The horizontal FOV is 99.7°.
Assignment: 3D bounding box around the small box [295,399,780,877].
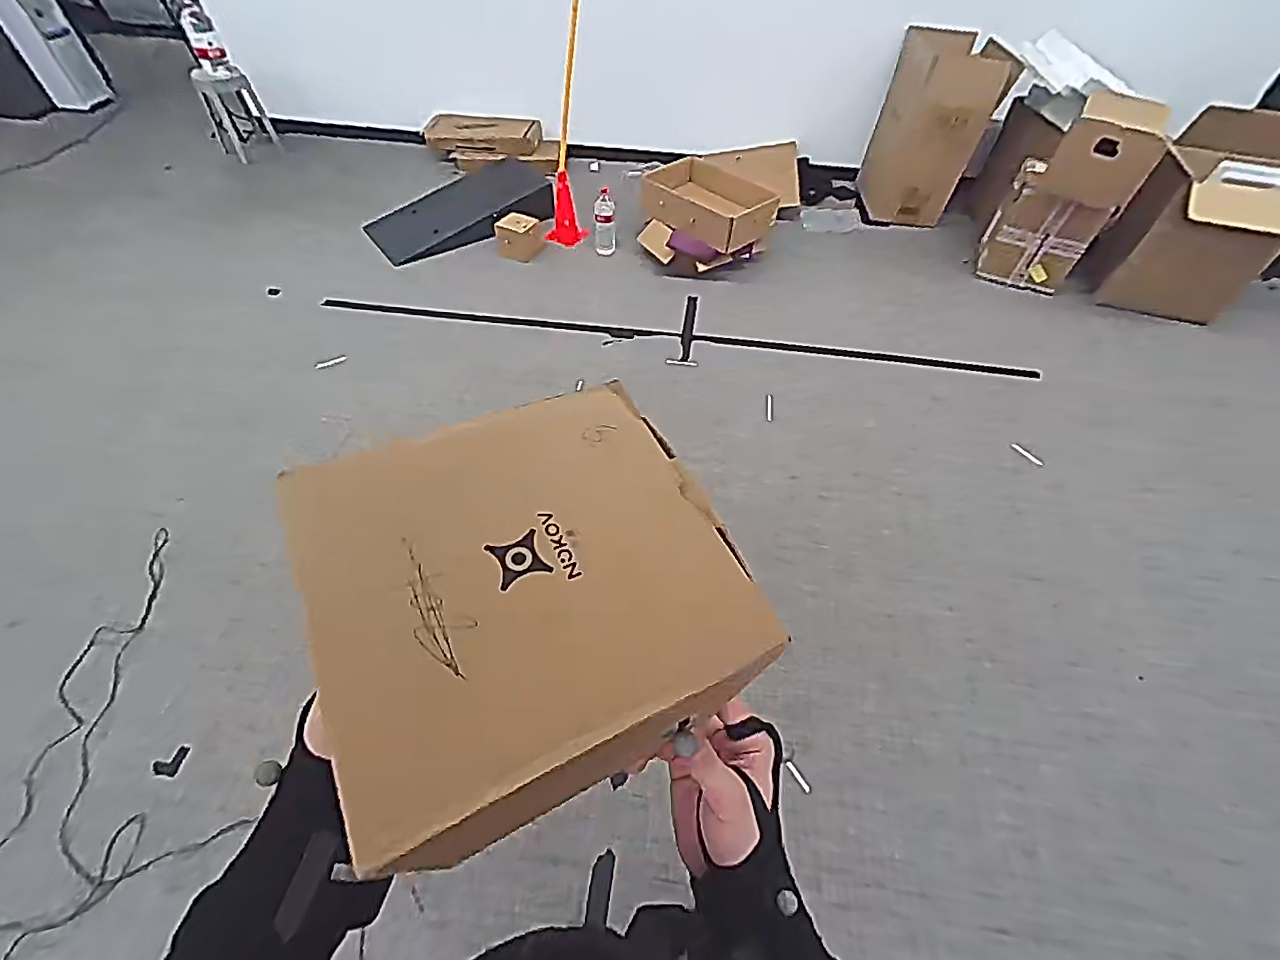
[{"bbox_3d":[-0.058,0.088,0.311,0.179,0.176,0.168,-22,60,-21],"label":"small box"}]
